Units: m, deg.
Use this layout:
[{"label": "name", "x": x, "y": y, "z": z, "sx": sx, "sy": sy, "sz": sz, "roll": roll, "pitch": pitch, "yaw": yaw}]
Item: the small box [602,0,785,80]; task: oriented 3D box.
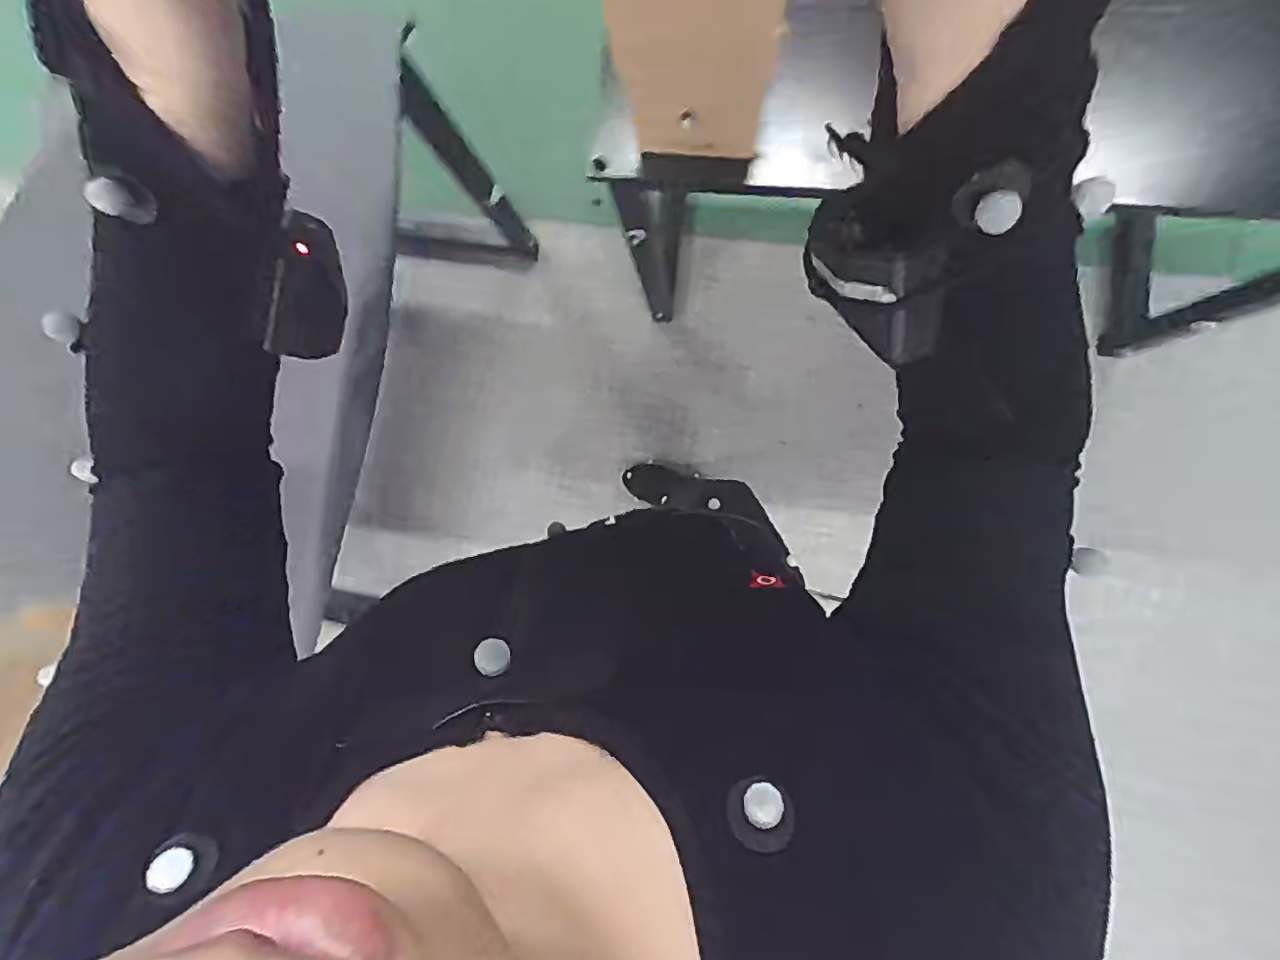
[{"label": "small box", "x": 0.060, "y": -0.524, "z": 0.519, "sx": 0.179, "sy": 0.176, "sz": 0.168, "roll": 7, "pitch": 90, "yaw": 8}]

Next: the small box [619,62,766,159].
[{"label": "small box", "x": 0.076, "y": -0.538, "z": 0.681, "sx": 0.168, "sy": 0.176, "sz": 0.179, "roll": 7, "pitch": 90, "yaw": 6}]
